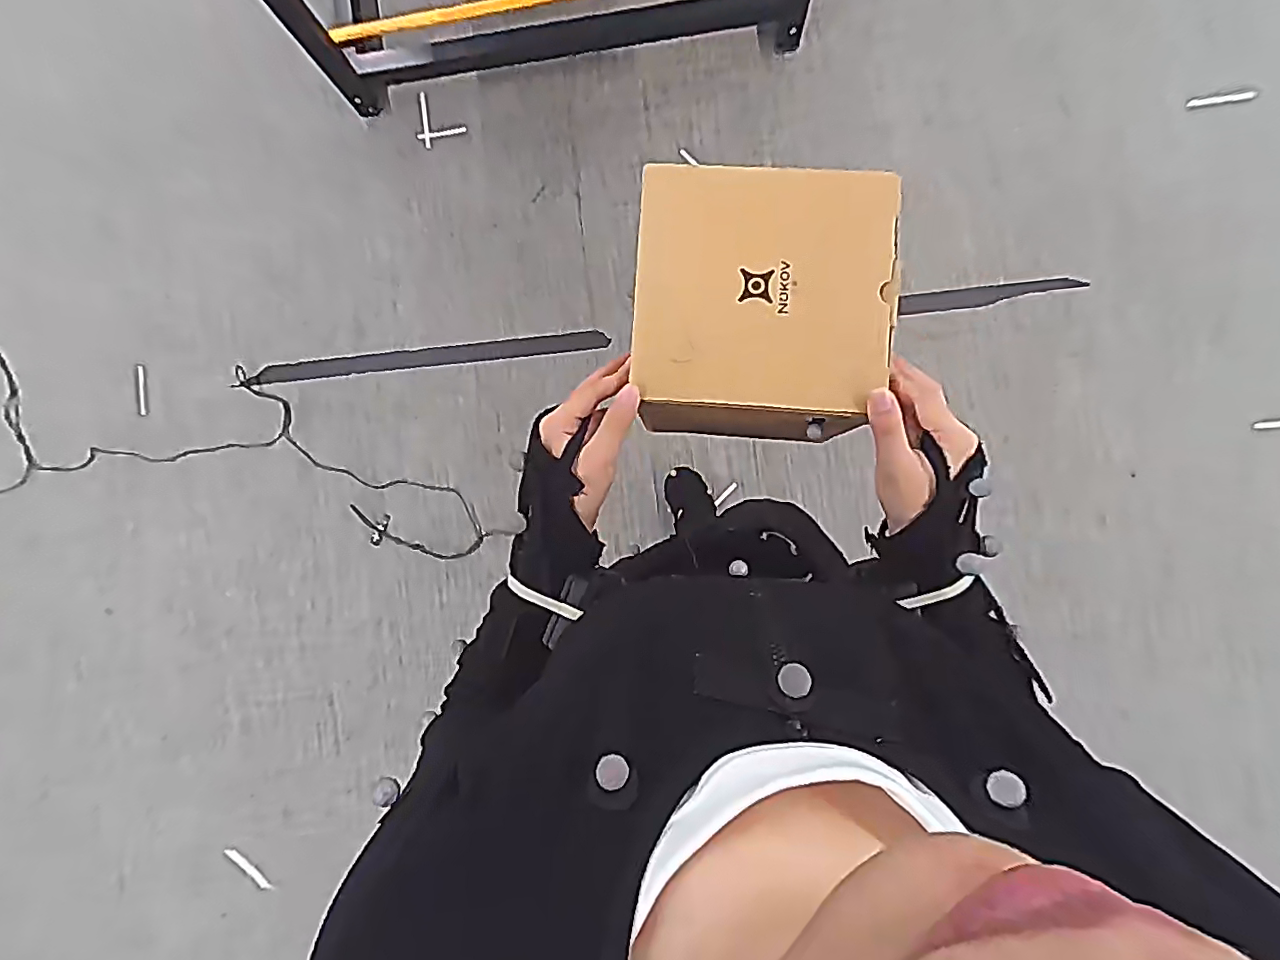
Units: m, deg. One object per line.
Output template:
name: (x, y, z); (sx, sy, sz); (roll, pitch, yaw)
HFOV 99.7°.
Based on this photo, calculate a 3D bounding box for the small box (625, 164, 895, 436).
small box: (0.087, -0.131, 0.451); (0.179, 0.176, 0.168); (4, 88, 3)
